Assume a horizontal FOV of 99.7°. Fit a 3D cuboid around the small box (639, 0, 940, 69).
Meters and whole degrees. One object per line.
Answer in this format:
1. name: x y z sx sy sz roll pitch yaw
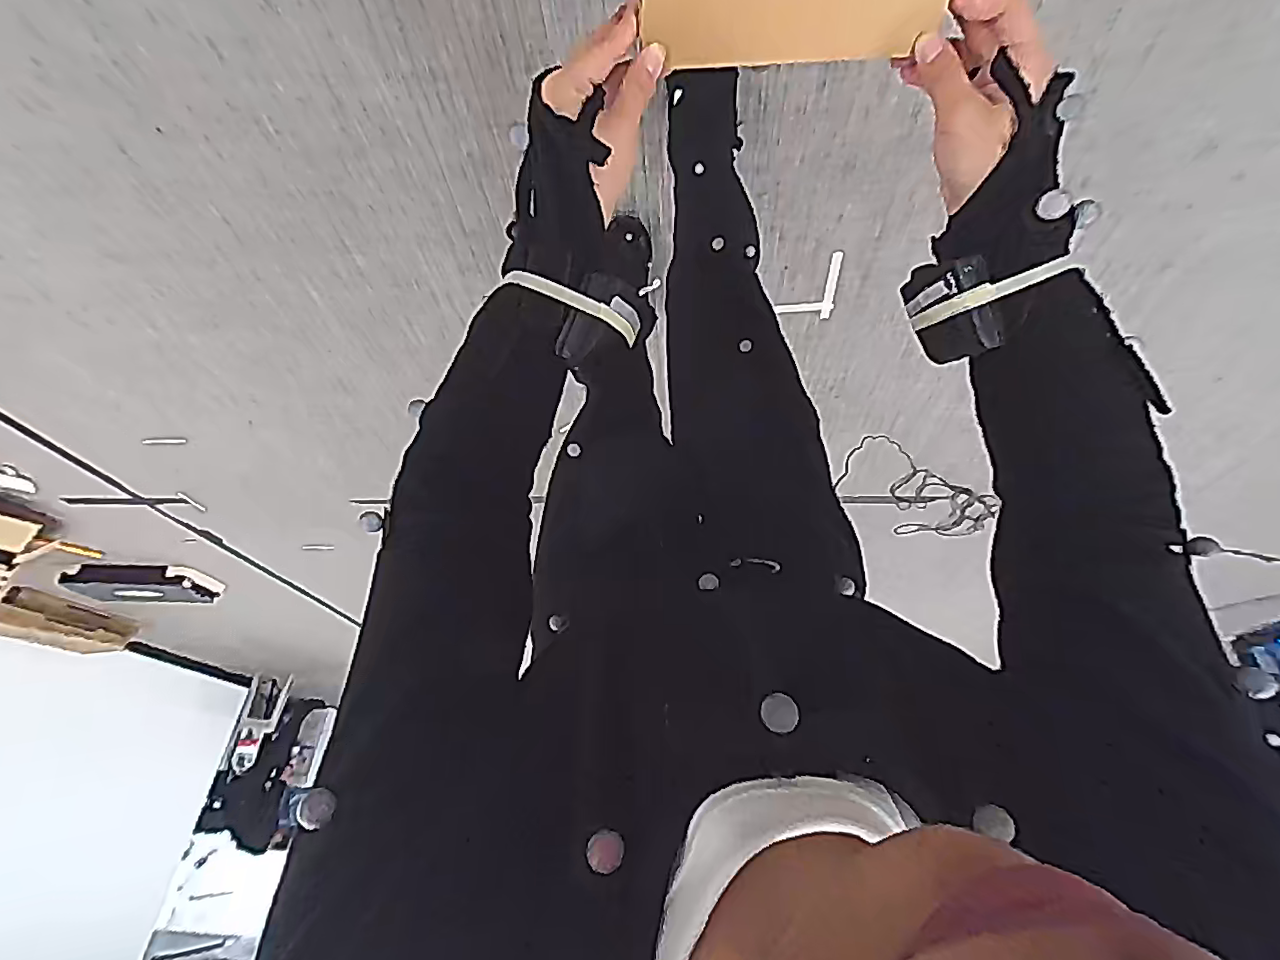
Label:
1. small box: 0.085 -0.371 0.310 0.179 0.176 0.168 0 147 4
